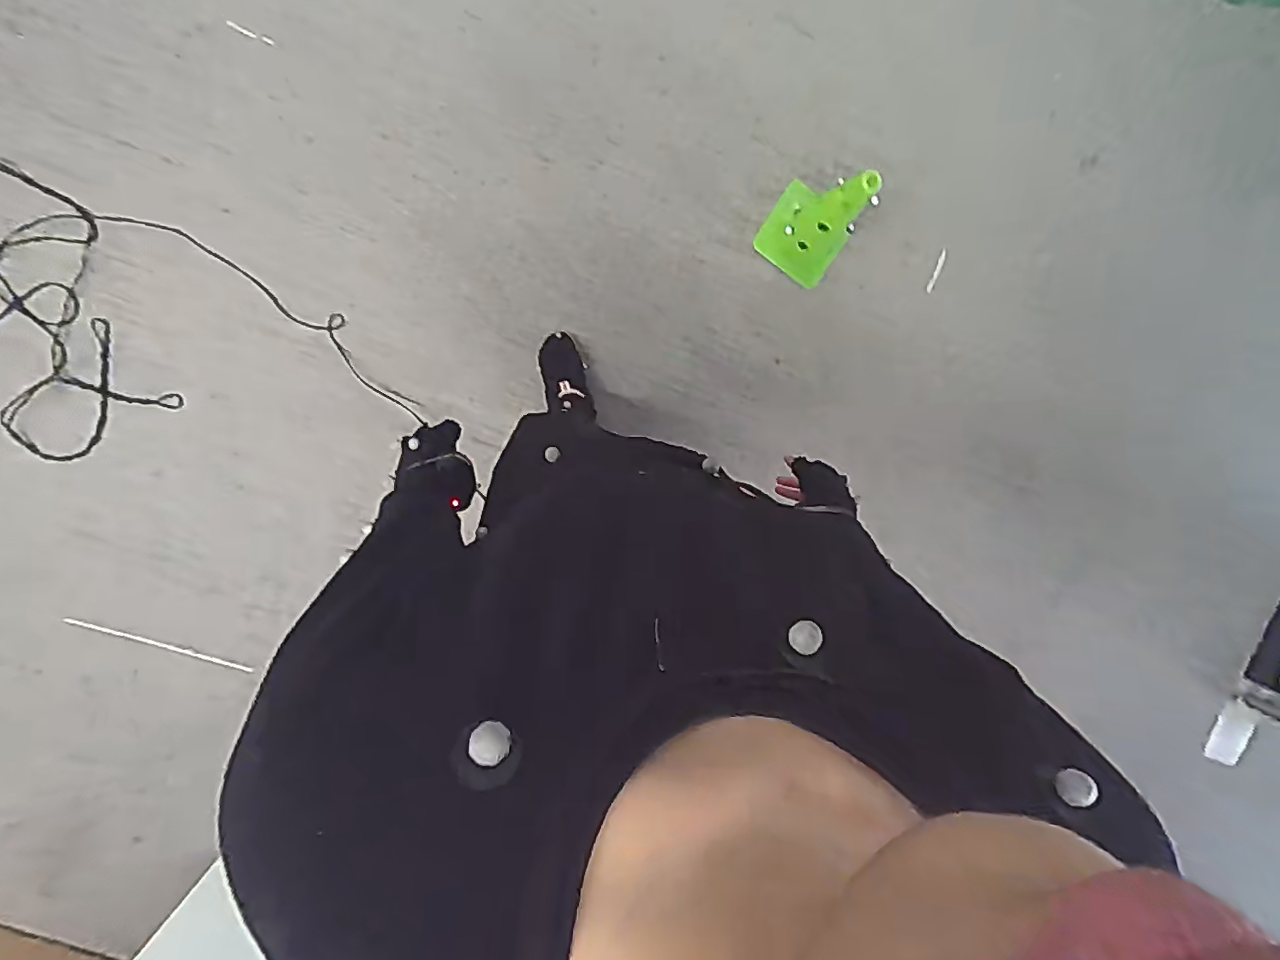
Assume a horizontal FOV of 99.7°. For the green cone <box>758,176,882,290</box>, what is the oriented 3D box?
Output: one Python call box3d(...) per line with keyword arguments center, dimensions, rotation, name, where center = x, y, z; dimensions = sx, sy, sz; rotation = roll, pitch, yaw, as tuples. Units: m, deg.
box3d(center=(0.437, -0.598, 1.218), dimensions=(0.200, 0.368, 0.202), rotation=(32, 95, -7), name="green cone")
